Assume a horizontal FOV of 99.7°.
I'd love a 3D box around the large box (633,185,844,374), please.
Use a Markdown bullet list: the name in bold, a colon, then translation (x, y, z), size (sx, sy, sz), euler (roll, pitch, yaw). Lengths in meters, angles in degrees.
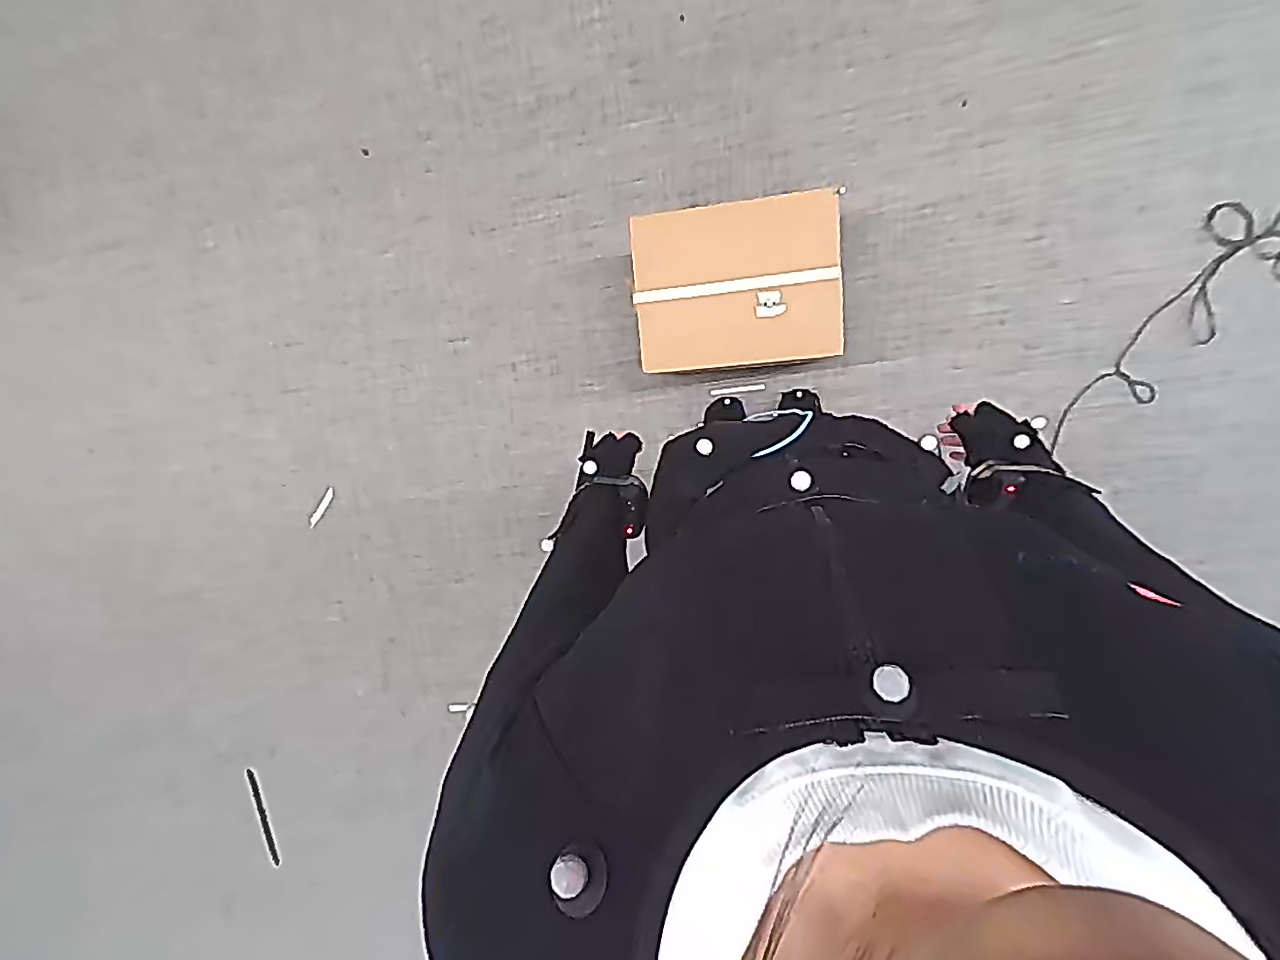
- **large box**: translation (0.217, -0.418, 1.223), size (0.408, 0.320, 0.320), euler (-4, 100, 10)
